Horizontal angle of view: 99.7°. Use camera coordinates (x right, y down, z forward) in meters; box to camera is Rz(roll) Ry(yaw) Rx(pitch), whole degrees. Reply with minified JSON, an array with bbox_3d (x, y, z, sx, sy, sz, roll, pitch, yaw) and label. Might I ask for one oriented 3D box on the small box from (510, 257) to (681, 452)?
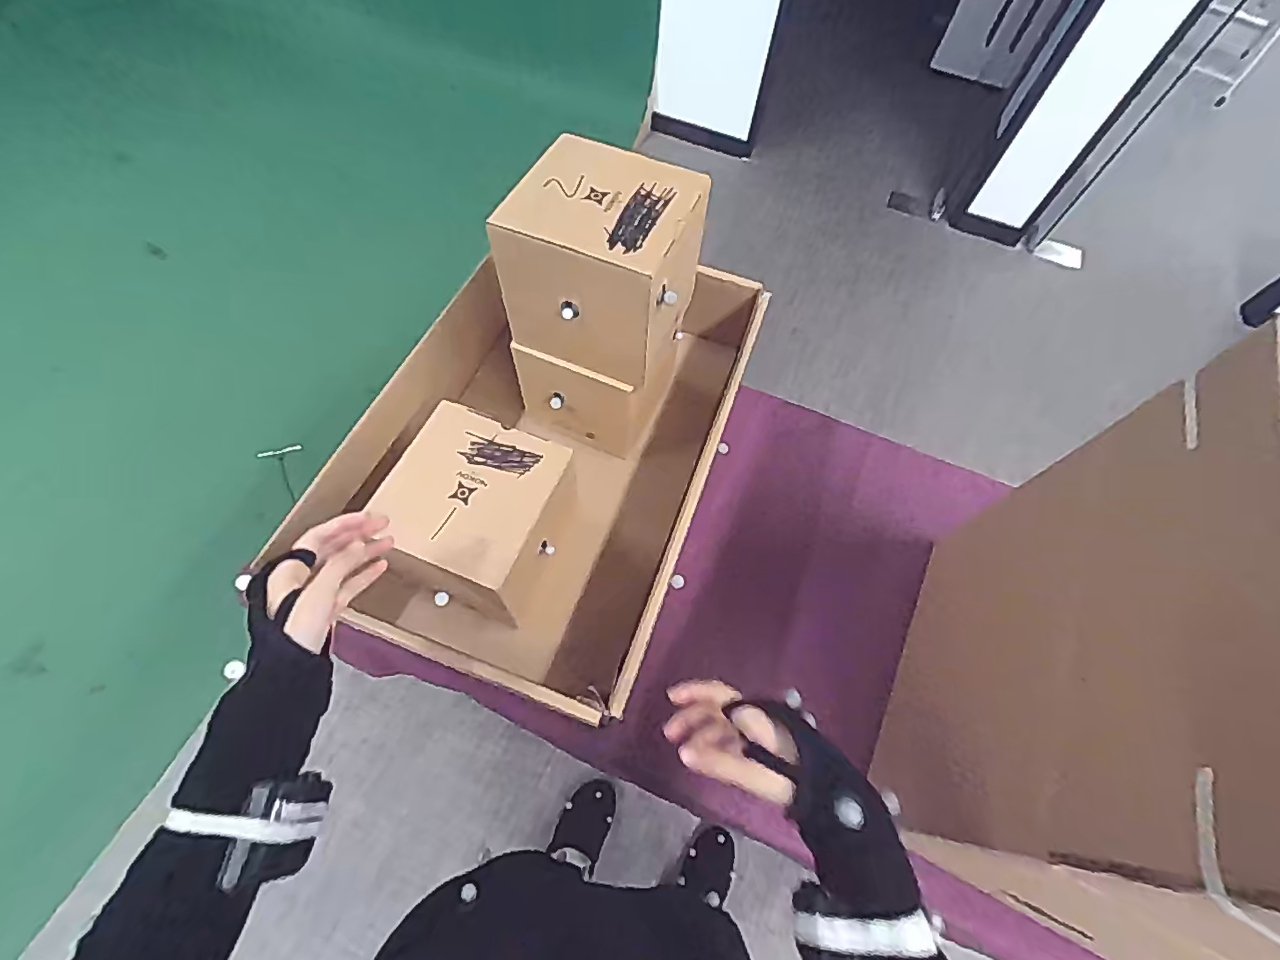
[{"bbox_3d":[-0.055,-0.167,0.756,0.168,0.176,0.179,23,64,9],"label":"small box"}]
